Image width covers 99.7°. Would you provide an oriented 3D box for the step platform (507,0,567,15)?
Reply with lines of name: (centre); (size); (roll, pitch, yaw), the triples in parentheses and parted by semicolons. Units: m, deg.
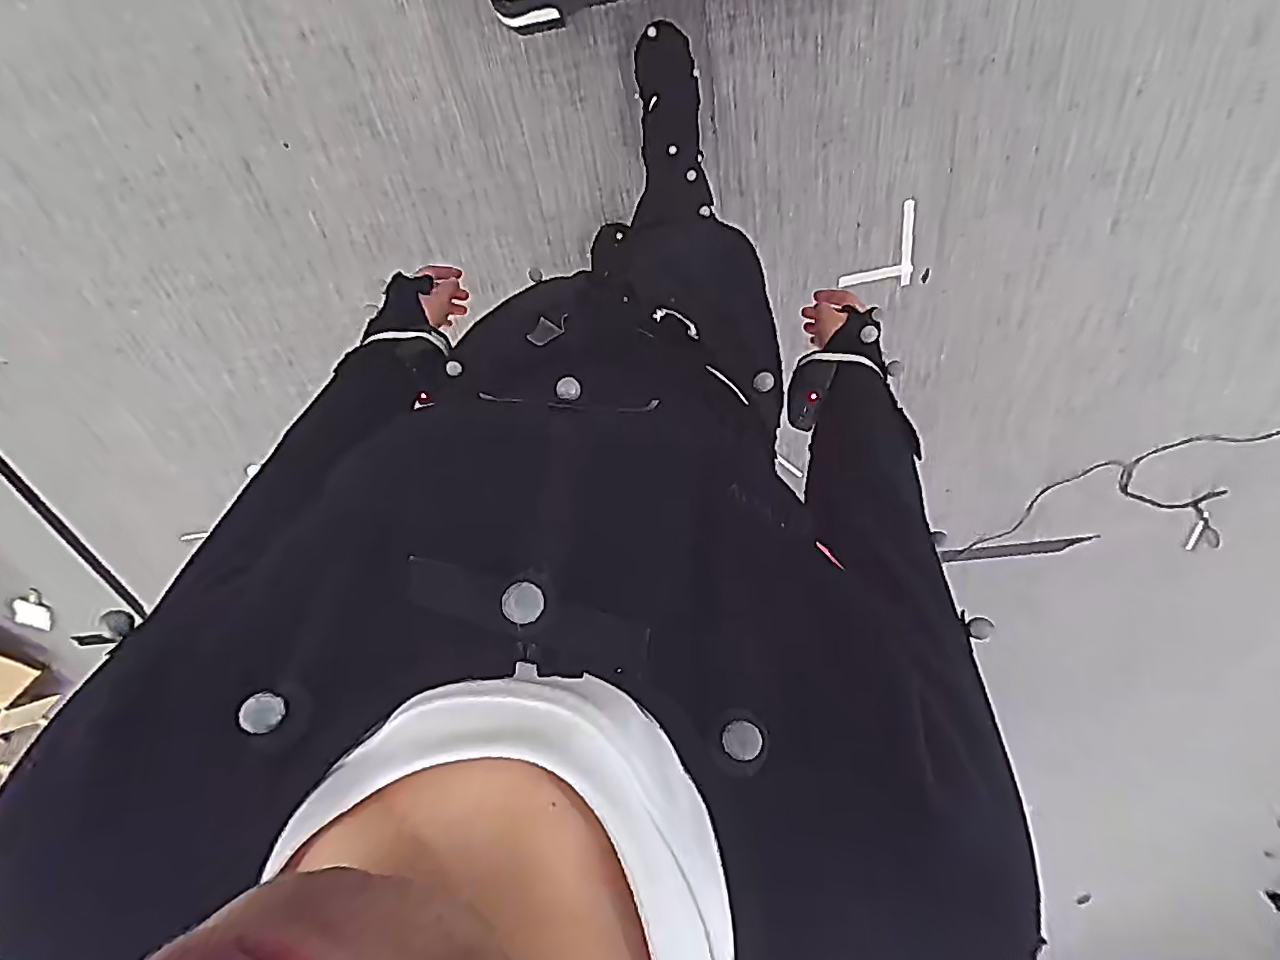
step platform: (0.077, -0.935, 0.784); (0.684, 0.204, 0.286); (-7, 122, 7)
